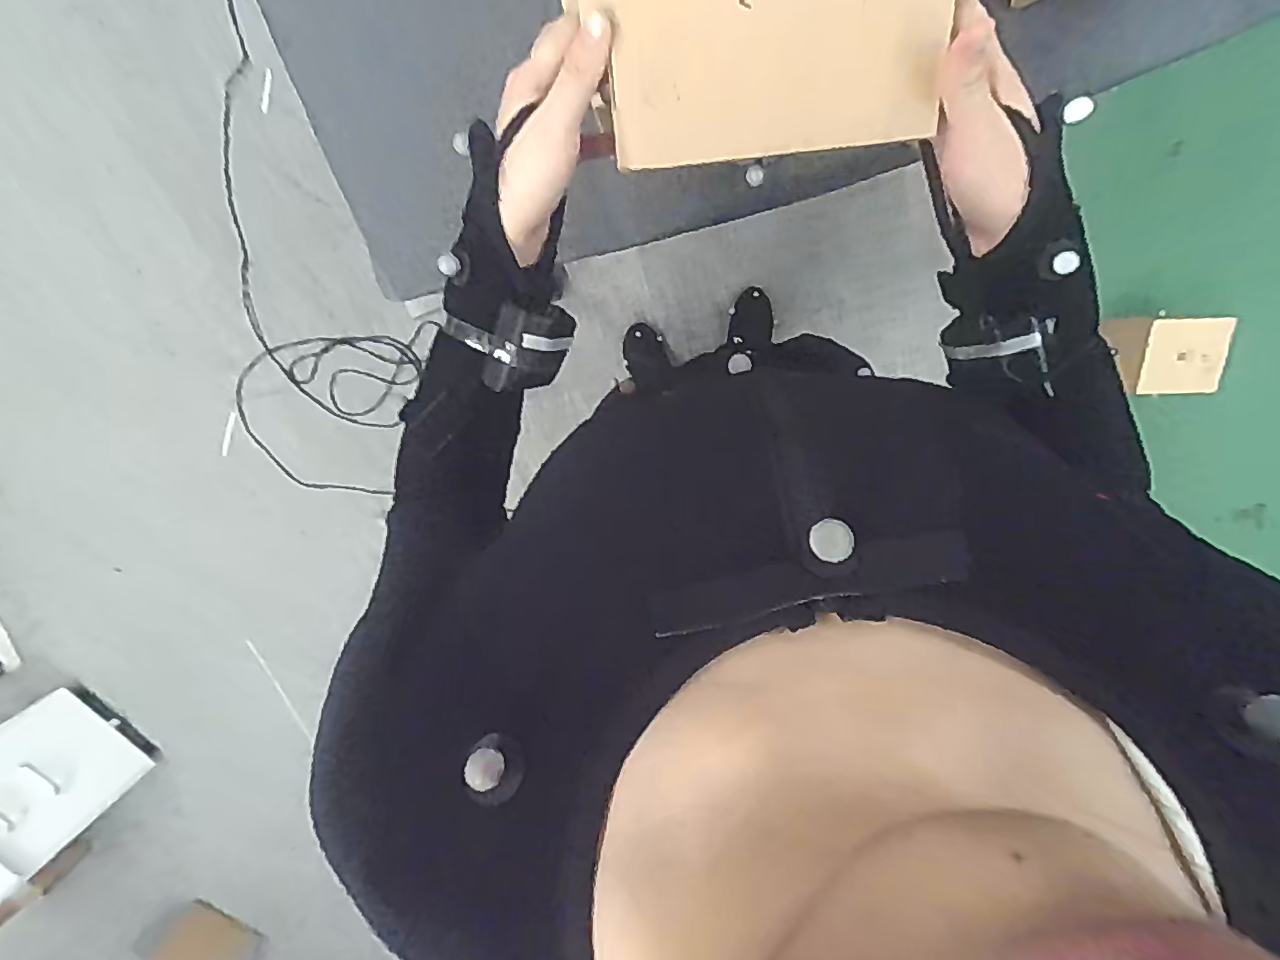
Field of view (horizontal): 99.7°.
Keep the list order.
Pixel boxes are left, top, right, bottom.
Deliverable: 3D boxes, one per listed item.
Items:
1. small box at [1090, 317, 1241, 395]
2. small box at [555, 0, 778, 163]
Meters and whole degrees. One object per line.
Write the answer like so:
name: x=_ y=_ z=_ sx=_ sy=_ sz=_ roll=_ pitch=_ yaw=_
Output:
small box: x=1.216 y=-0.293 z=1.270 sx=0.179 sy=0.176 sz=0.168 roll=-1 pitch=108 yaw=3
small box: x=0.018 y=-0.443 z=0.529 sx=0.179 sy=0.176 sz=0.168 roll=-16 pitch=105 yaw=9
